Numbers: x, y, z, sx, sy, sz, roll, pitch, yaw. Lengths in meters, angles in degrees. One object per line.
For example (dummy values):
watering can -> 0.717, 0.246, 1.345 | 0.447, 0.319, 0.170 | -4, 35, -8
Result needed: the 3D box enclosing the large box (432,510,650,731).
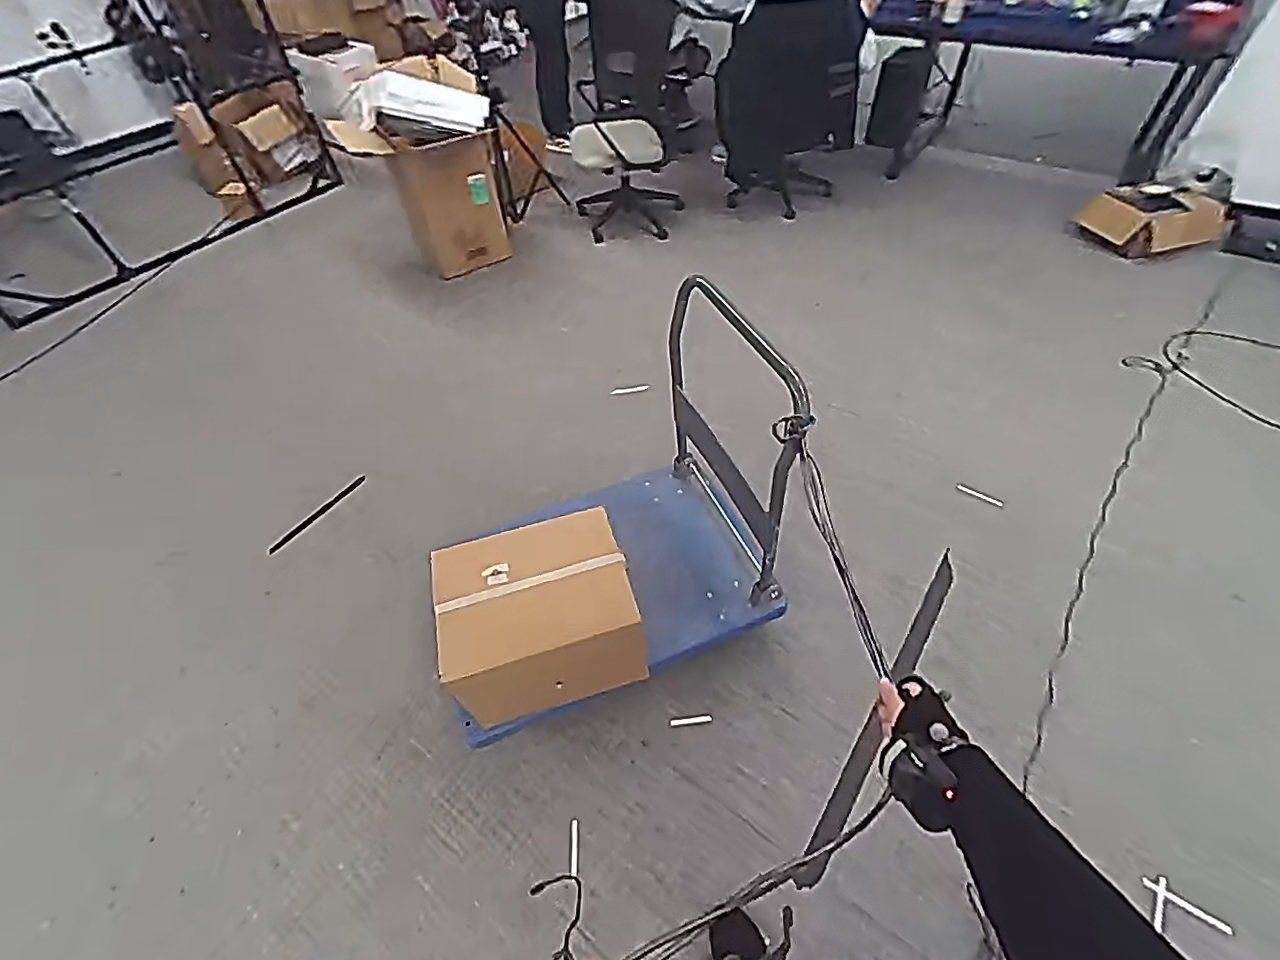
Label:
large box -> -0.217, 0.327, 1.251 | 0.408, 0.320, 0.320 | -16, 50, -8
